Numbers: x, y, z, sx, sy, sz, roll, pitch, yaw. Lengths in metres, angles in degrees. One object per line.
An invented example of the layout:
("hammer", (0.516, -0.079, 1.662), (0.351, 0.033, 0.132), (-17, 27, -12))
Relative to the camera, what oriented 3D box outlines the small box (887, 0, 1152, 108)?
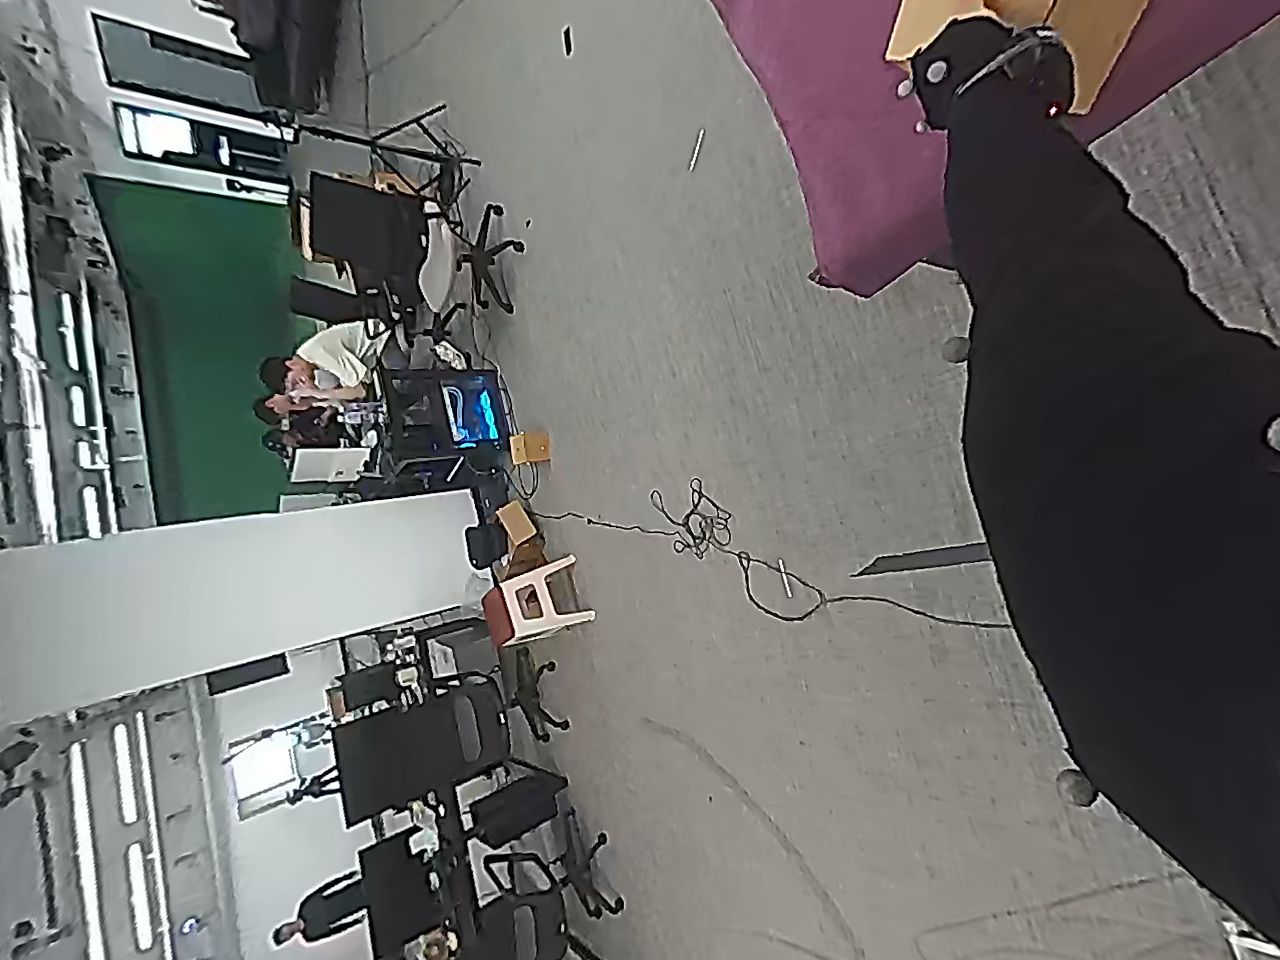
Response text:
("small box", (0.405, -0.515, 0.553), (0.168, 0.176, 0.179), (53, 137, 41))
